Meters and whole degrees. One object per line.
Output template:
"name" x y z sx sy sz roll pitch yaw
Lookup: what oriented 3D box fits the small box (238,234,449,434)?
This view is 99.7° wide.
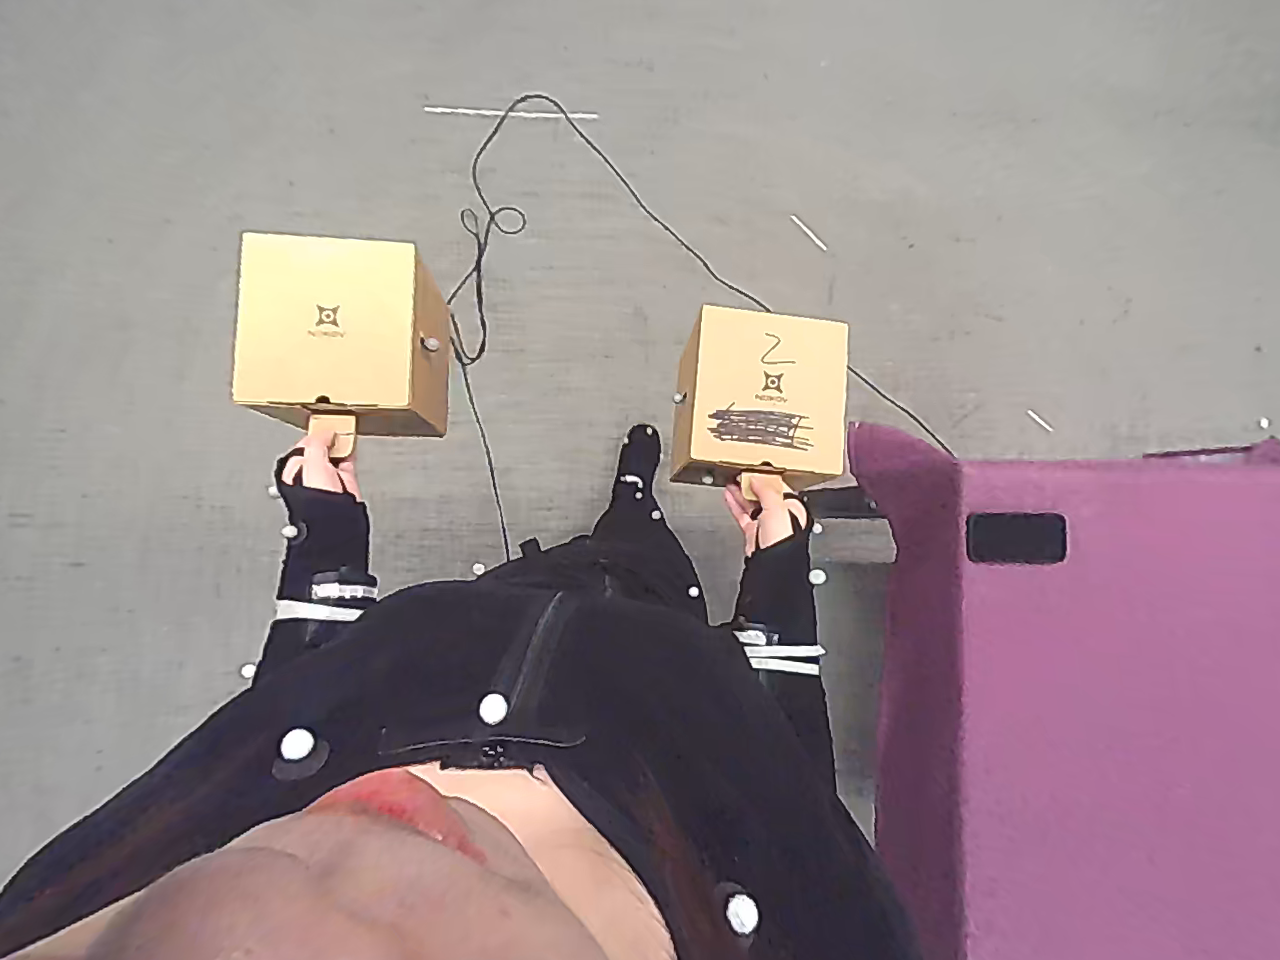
"small box" -0.326 -0.155 0.630 0.168 0.176 0.179 0 86 -7
